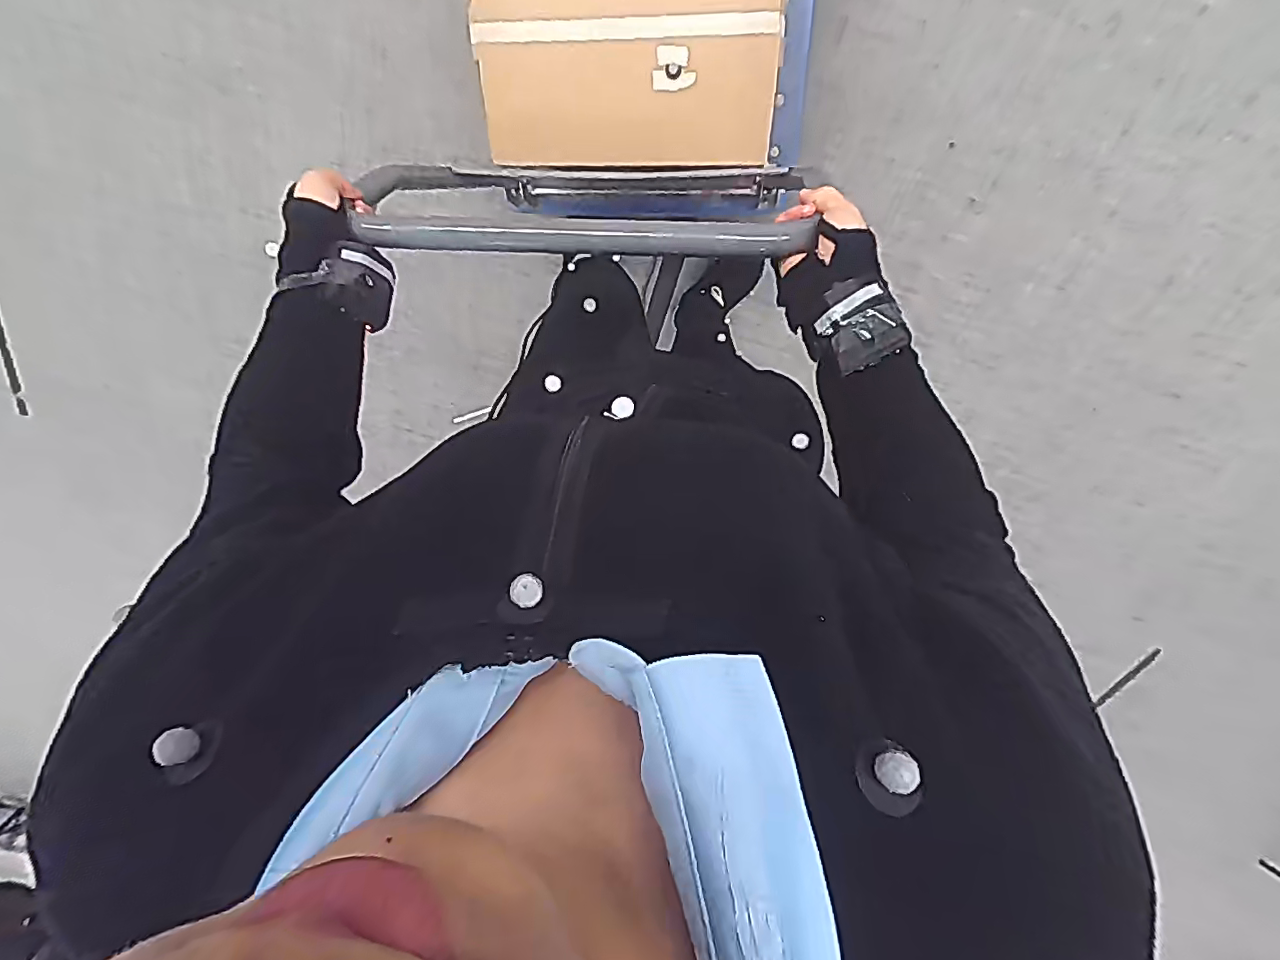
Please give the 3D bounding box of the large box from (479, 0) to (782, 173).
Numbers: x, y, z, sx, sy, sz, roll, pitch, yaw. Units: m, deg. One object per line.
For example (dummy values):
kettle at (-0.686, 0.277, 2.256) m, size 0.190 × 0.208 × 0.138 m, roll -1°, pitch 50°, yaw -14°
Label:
large box at (-0.003, -0.666, 0.844) m, size 0.408 × 0.320 × 0.320 m, roll 2°, pitch 121°, yaw 5°
